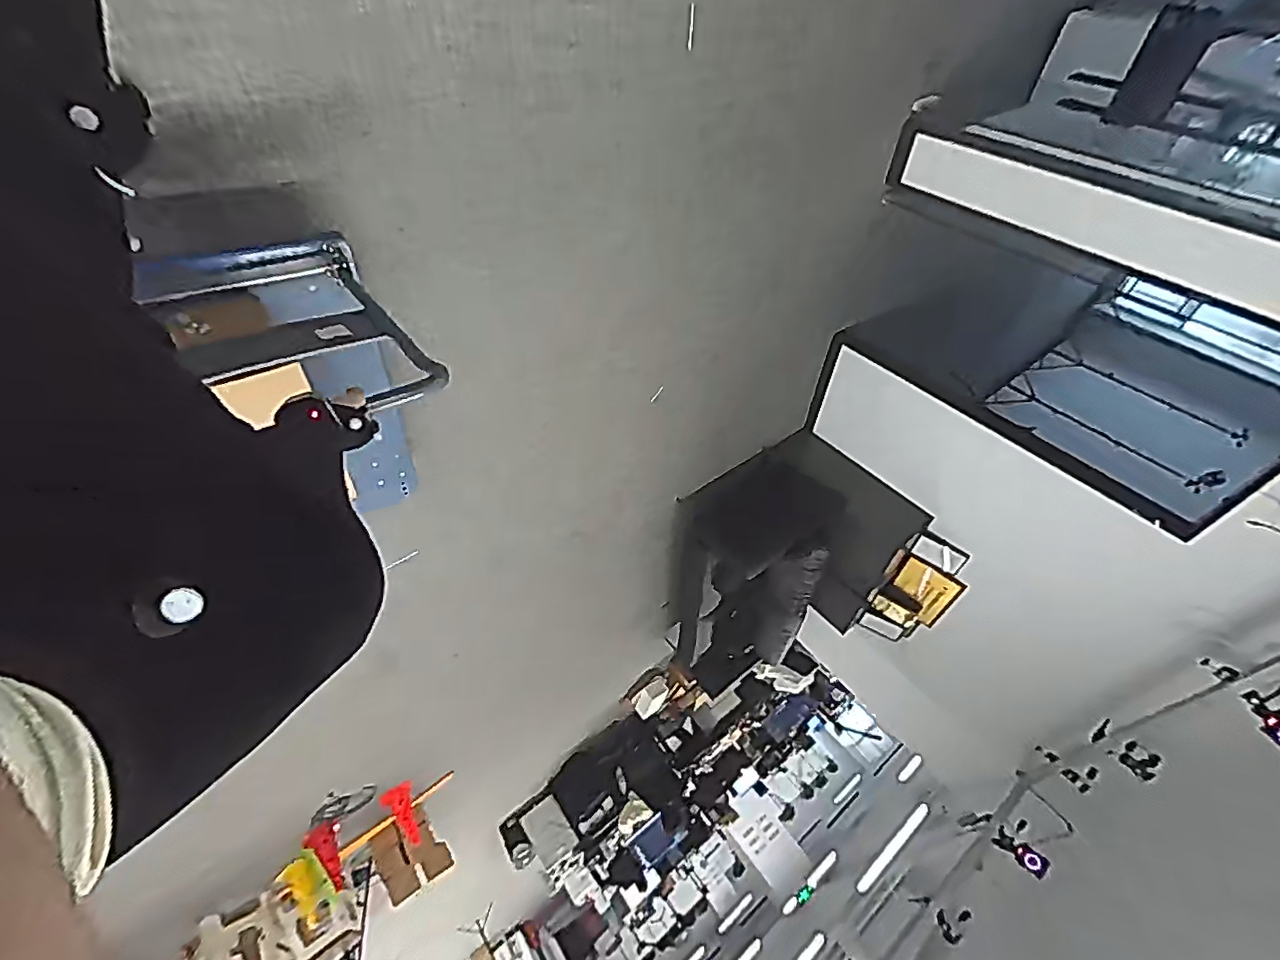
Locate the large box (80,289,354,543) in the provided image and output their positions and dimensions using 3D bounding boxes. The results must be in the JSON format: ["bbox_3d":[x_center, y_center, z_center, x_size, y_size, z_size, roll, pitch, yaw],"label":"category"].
[{"bbox_3d":[-0.909,-0.144,1.203,0.320,0.320,0.408,-28,145,-29],"label":"large box"}]
